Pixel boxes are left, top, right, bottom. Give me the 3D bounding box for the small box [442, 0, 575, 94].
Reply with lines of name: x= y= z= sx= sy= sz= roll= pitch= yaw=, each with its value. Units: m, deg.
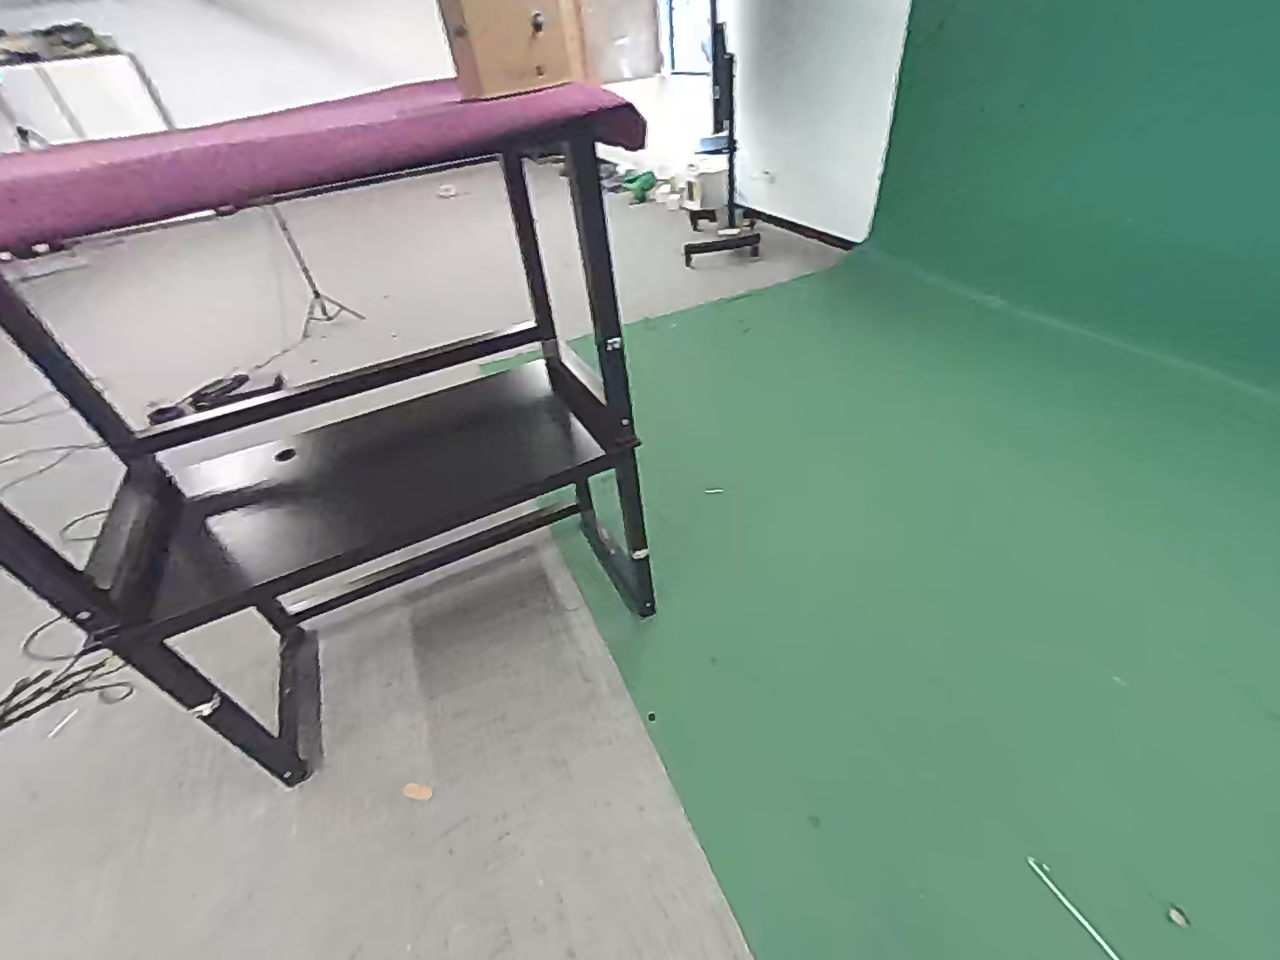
small box: x=-0.225 y=-0.776 z=0.923 sx=0.168 sy=0.176 sz=0.179 roll=-22 pitch=40 yaw=-17
